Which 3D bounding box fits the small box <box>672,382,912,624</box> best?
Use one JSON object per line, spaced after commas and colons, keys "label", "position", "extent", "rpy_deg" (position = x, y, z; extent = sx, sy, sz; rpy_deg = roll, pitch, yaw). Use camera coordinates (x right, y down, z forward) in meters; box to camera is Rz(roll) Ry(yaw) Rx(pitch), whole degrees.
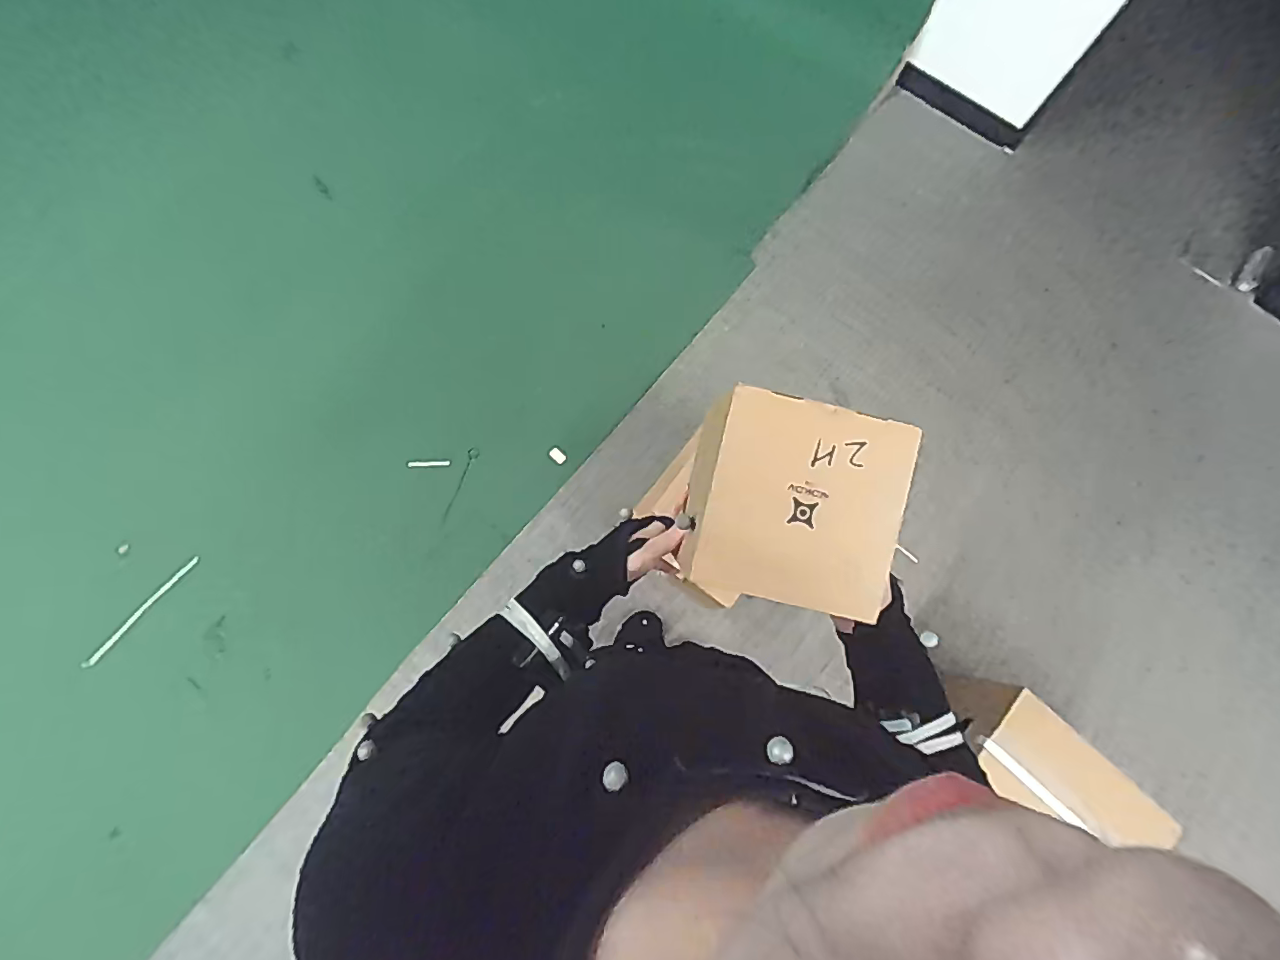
{"label": "small box", "position": [0.131, 0.020, 0.537], "extent": [0.168, 0.176, 0.179], "rpy_deg": [14, 89, -2]}

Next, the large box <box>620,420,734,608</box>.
{"label": "large box", "position": [0.186, 0.082, 1.421], "extent": [0.320, 0.320, 0.408], "rpy_deg": [38, 77, 7]}

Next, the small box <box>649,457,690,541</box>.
{"label": "small box", "position": [0.136, 0.066, 1.171], "extent": [0.179, 0.176, 0.168], "rpy_deg": [36, 77, 9]}
